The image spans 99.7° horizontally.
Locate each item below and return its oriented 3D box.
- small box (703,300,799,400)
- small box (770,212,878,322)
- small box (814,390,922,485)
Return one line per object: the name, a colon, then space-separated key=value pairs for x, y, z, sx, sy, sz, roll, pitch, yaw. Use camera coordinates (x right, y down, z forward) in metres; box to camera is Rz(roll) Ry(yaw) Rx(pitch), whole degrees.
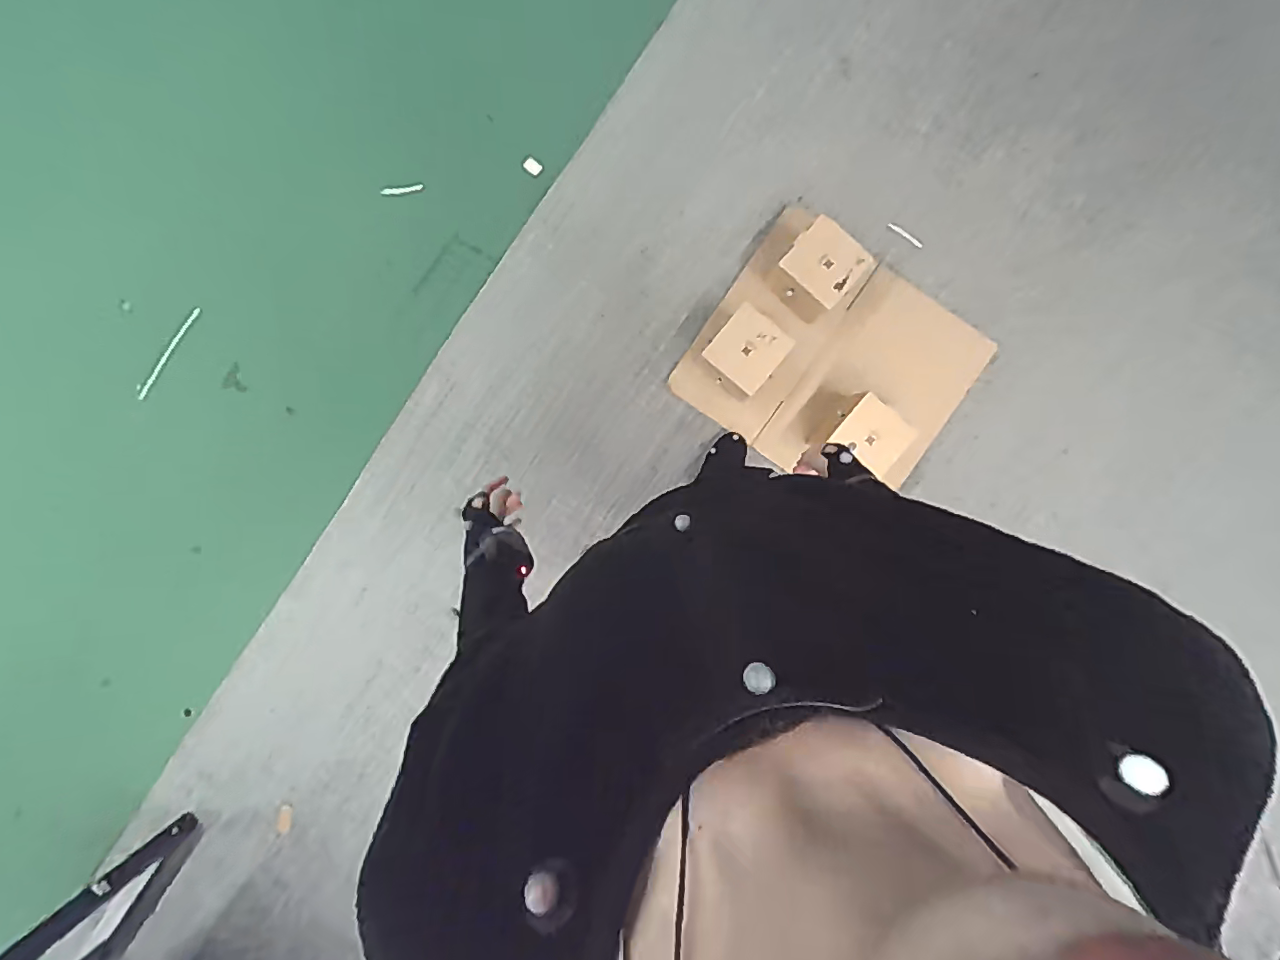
small box: x=0.276 y=-0.326 z=1.397 sx=0.168 sy=0.176 sz=0.179 roll=40 pitch=93 yaw=-1
small box: x=0.460 y=-0.533 z=1.384 sx=0.179 sy=0.176 sz=0.168 roll=42 pitch=93 yaw=0
small box: x=0.575 y=-0.105 z=1.397 sx=0.168 sy=0.176 sz=0.179 roll=39 pitch=92 yaw=-1
